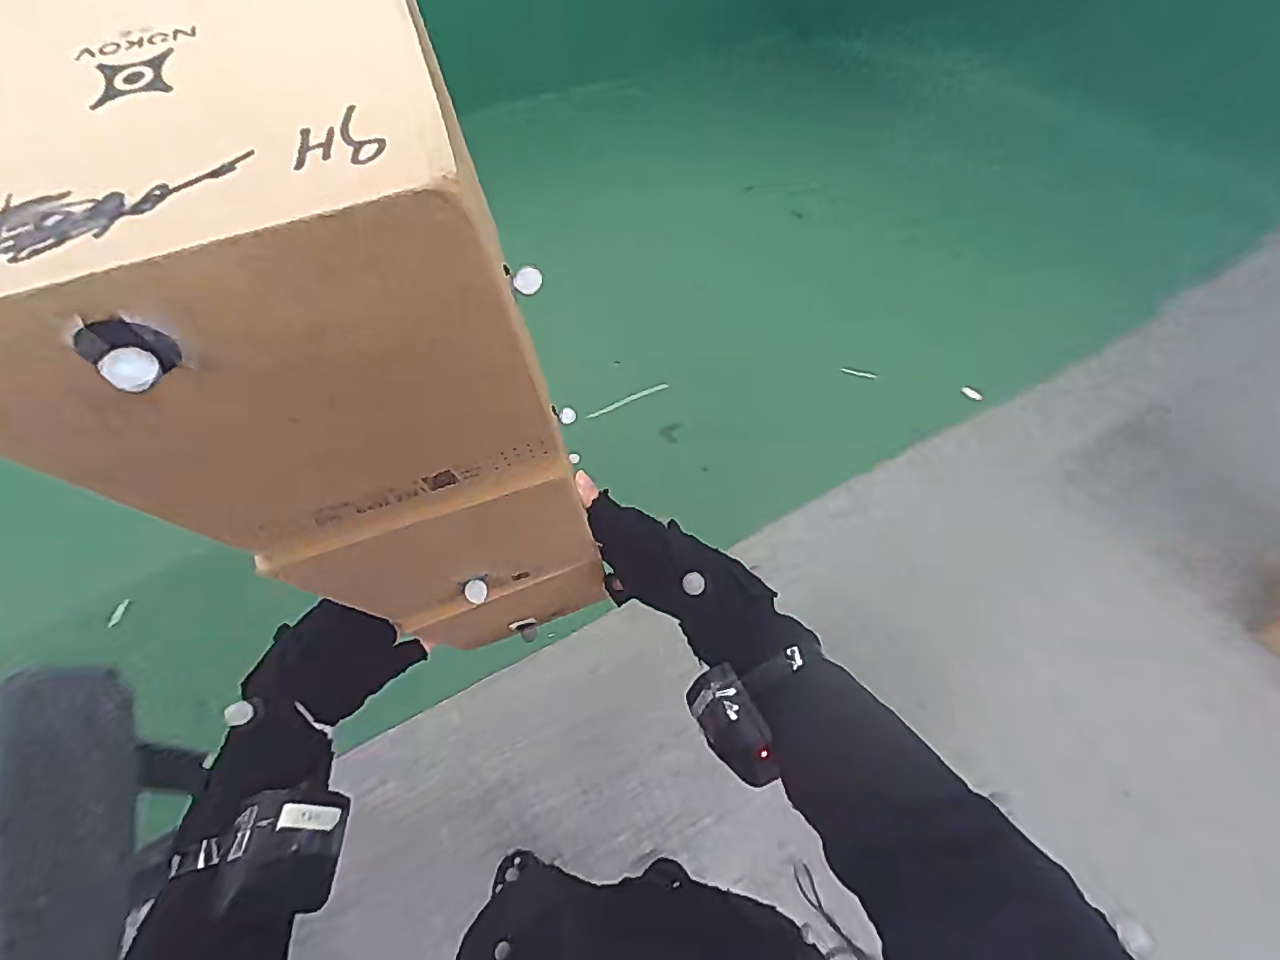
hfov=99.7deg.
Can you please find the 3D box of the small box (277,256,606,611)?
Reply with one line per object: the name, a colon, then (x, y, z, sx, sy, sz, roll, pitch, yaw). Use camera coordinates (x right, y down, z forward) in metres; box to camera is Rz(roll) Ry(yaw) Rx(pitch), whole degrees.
small box: (-0.129, -0.022, 0.395, 0.168, 0.176, 0.179, -17, 67, -5)
